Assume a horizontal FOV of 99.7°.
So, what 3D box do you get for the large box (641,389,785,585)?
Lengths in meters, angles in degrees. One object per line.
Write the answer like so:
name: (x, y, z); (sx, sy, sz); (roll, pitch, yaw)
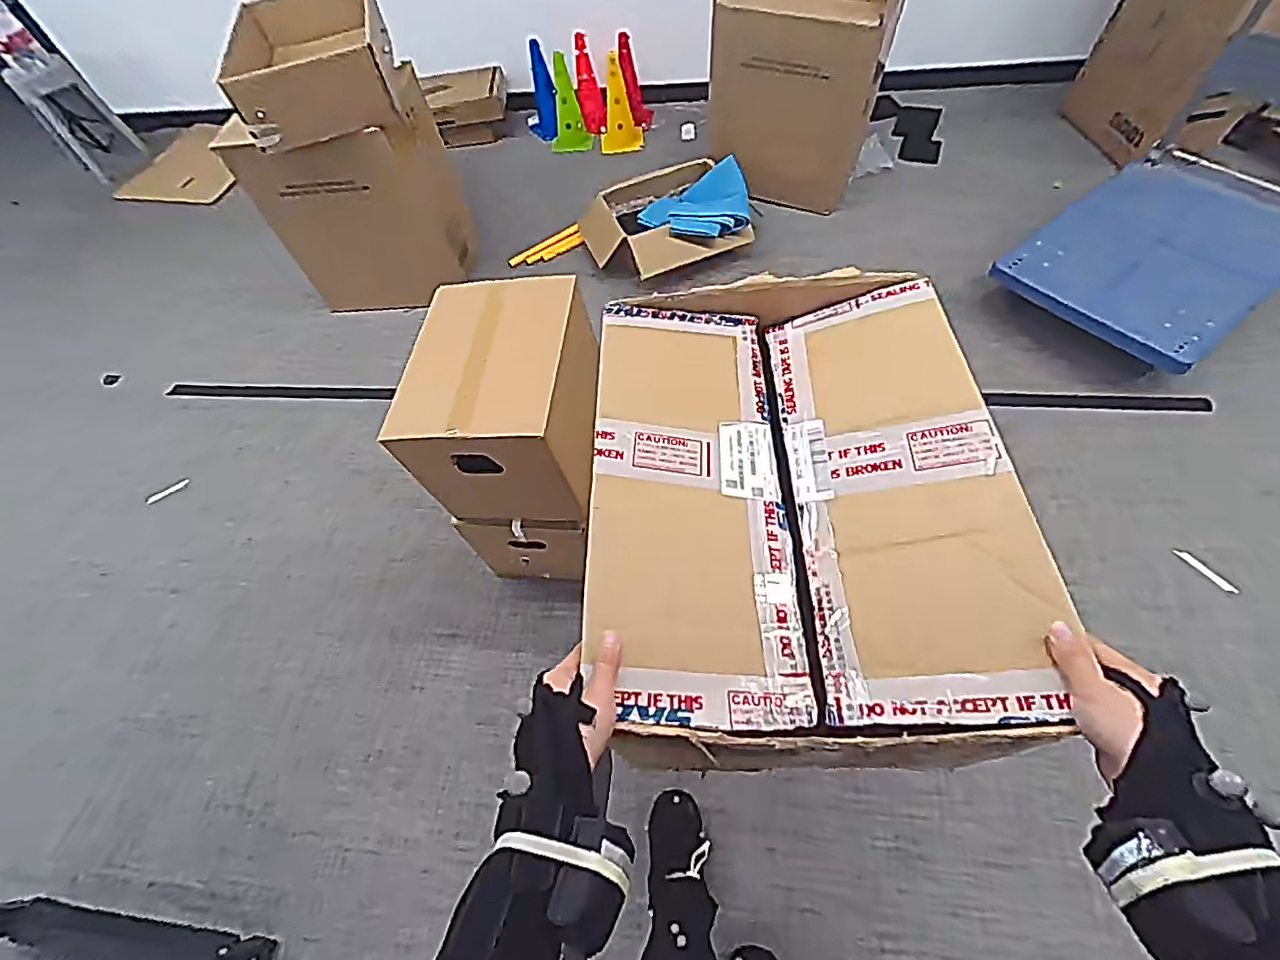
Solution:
large box: (0.178, 0.021, 1.378); (0.320, 0.320, 0.408); (1, 59, 7)
